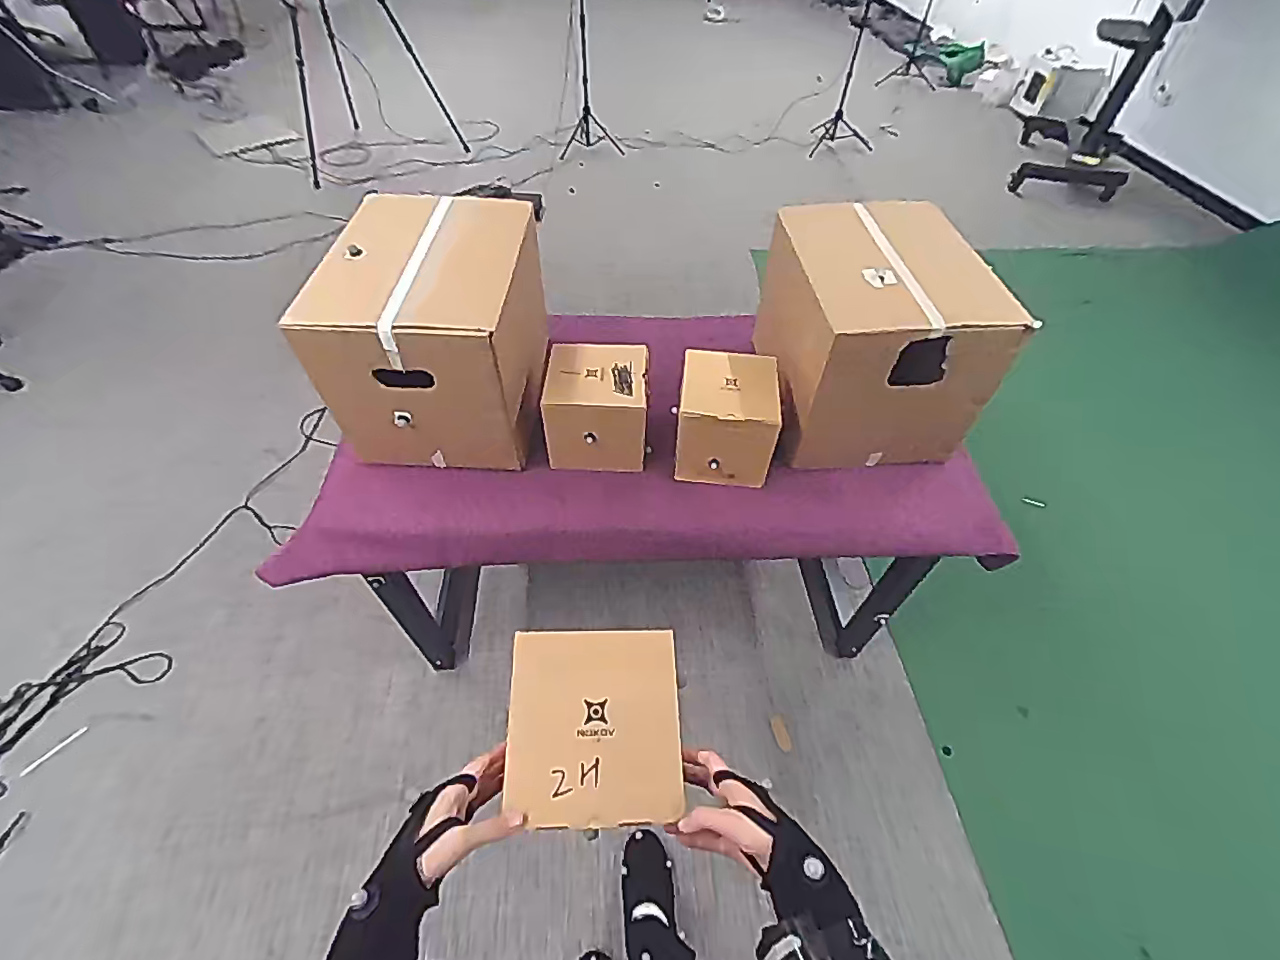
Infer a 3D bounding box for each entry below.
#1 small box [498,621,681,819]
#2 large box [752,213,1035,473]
[{"bbox_3d":[-0.053,0.264,0.588,0.168,0.176,0.179,1,60,-5],"label":"small box"},{"bbox_3d":[0.428,-0.267,1.042,0.320,0.320,0.408,-3,51,-1],"label":"large box"}]
